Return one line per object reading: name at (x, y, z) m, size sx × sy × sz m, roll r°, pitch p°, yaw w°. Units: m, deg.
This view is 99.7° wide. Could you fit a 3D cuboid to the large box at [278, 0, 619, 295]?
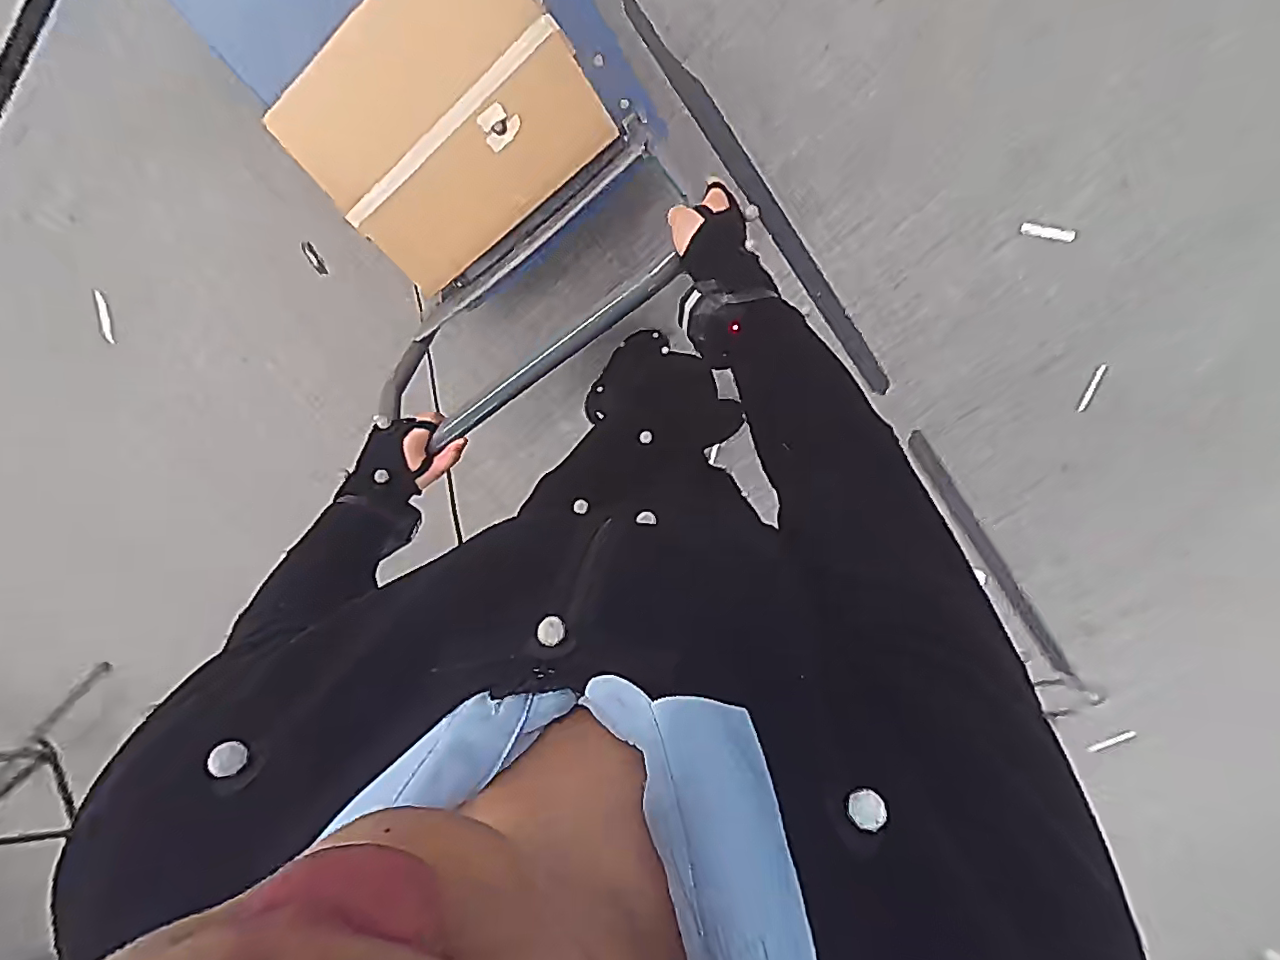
large box at (-0.285, -0.592, 0.909) m, size 0.408 × 0.320 × 0.320 m, roll -33°, pitch 121°, yaw 17°
